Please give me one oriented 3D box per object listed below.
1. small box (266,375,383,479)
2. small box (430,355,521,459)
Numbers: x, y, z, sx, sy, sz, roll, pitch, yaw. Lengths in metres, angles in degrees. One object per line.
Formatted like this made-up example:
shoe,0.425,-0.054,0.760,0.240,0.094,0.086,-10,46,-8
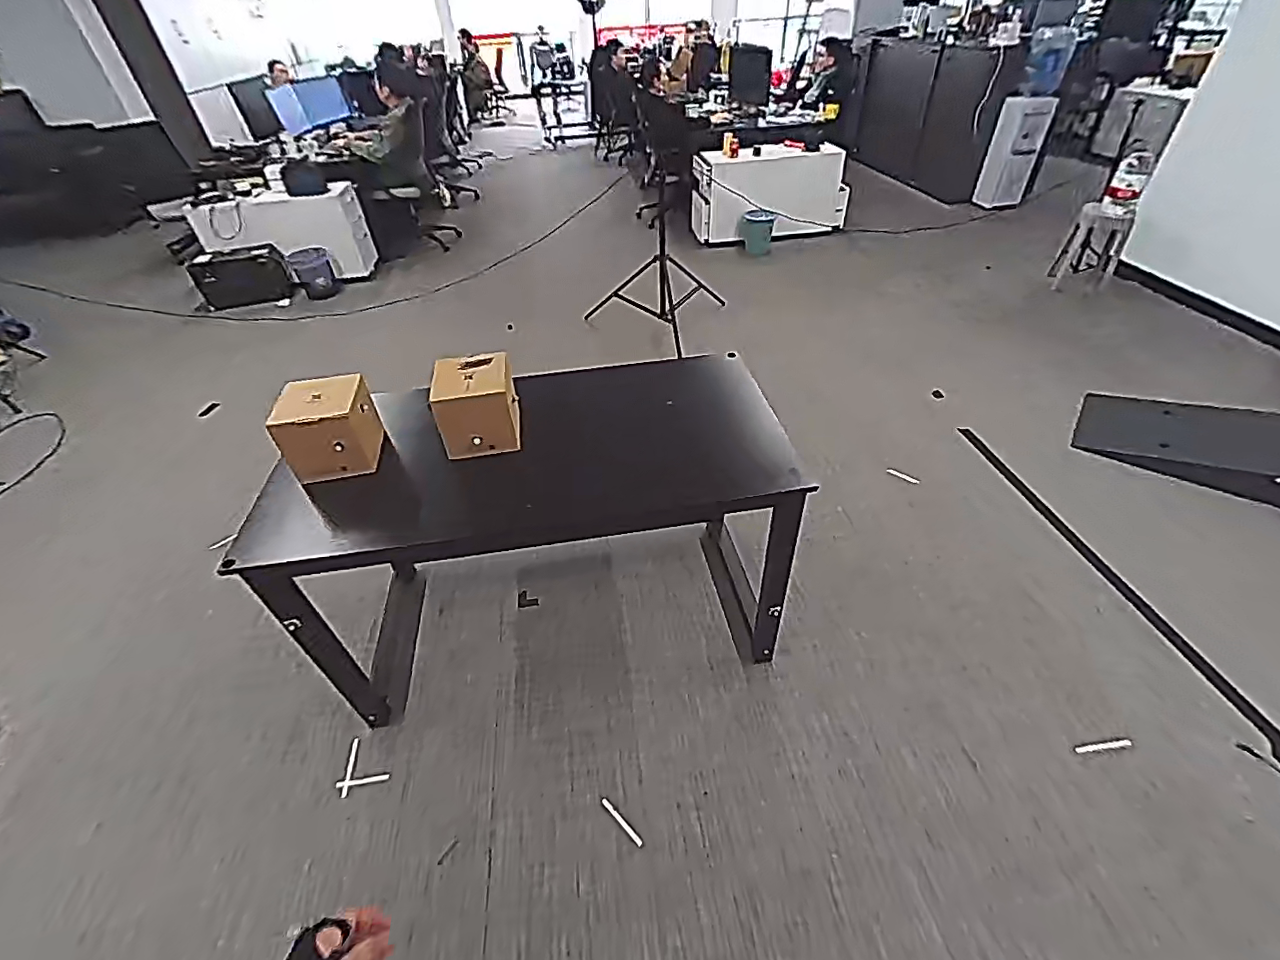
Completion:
small box,-0.705,-0.116,1.233,0.168,0.176,0.179,-9,41,-9
small box,-0.379,-0.172,1.274,0.168,0.176,0.179,-9,43,-6
